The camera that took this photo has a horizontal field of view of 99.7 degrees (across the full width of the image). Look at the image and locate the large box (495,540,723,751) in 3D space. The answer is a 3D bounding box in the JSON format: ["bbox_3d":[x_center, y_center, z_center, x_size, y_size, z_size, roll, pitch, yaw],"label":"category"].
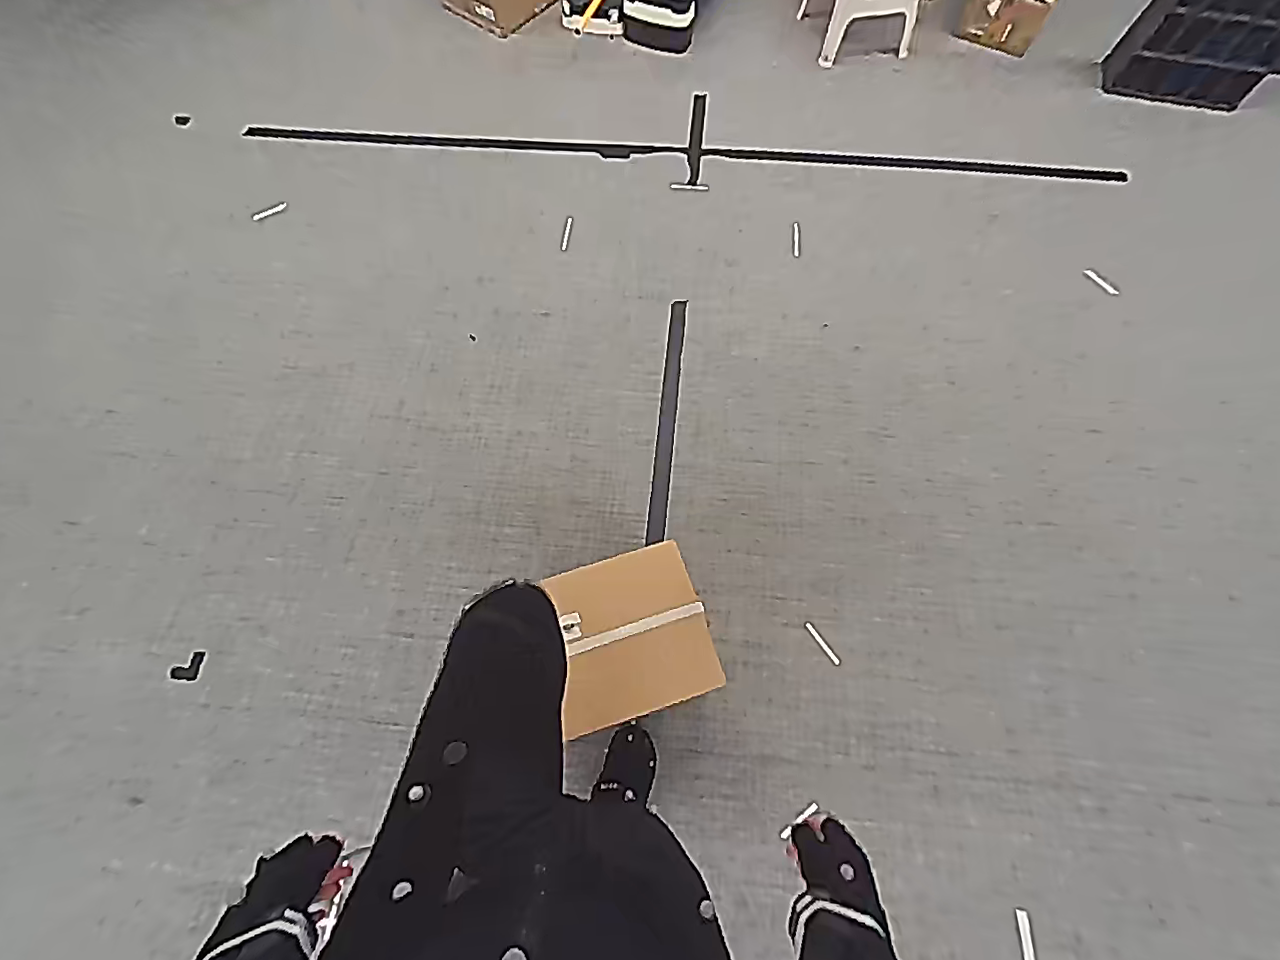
[{"bbox_3d":[-0.066,0.372,1.233,0.408,0.320,0.320,-17,69,-6],"label":"large box"}]
